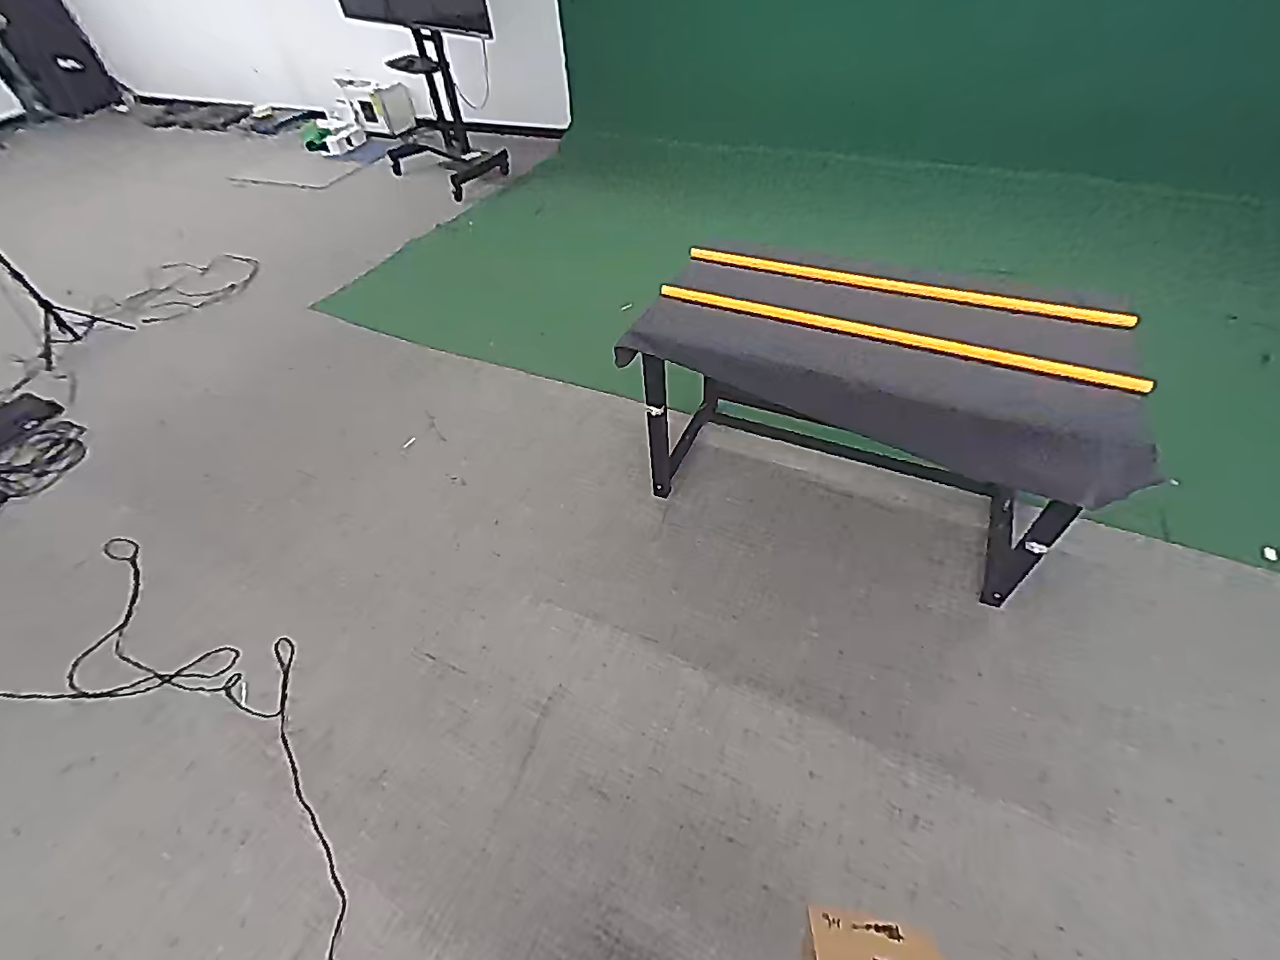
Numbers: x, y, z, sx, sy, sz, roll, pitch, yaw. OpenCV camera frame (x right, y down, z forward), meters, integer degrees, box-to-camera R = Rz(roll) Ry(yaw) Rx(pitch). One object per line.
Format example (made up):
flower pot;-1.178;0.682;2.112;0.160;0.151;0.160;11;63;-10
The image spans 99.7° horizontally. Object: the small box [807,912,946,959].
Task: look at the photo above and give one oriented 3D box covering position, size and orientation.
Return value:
small box;0.302;0.694;0.666;0.168;0.176;0.179;2;5;8
